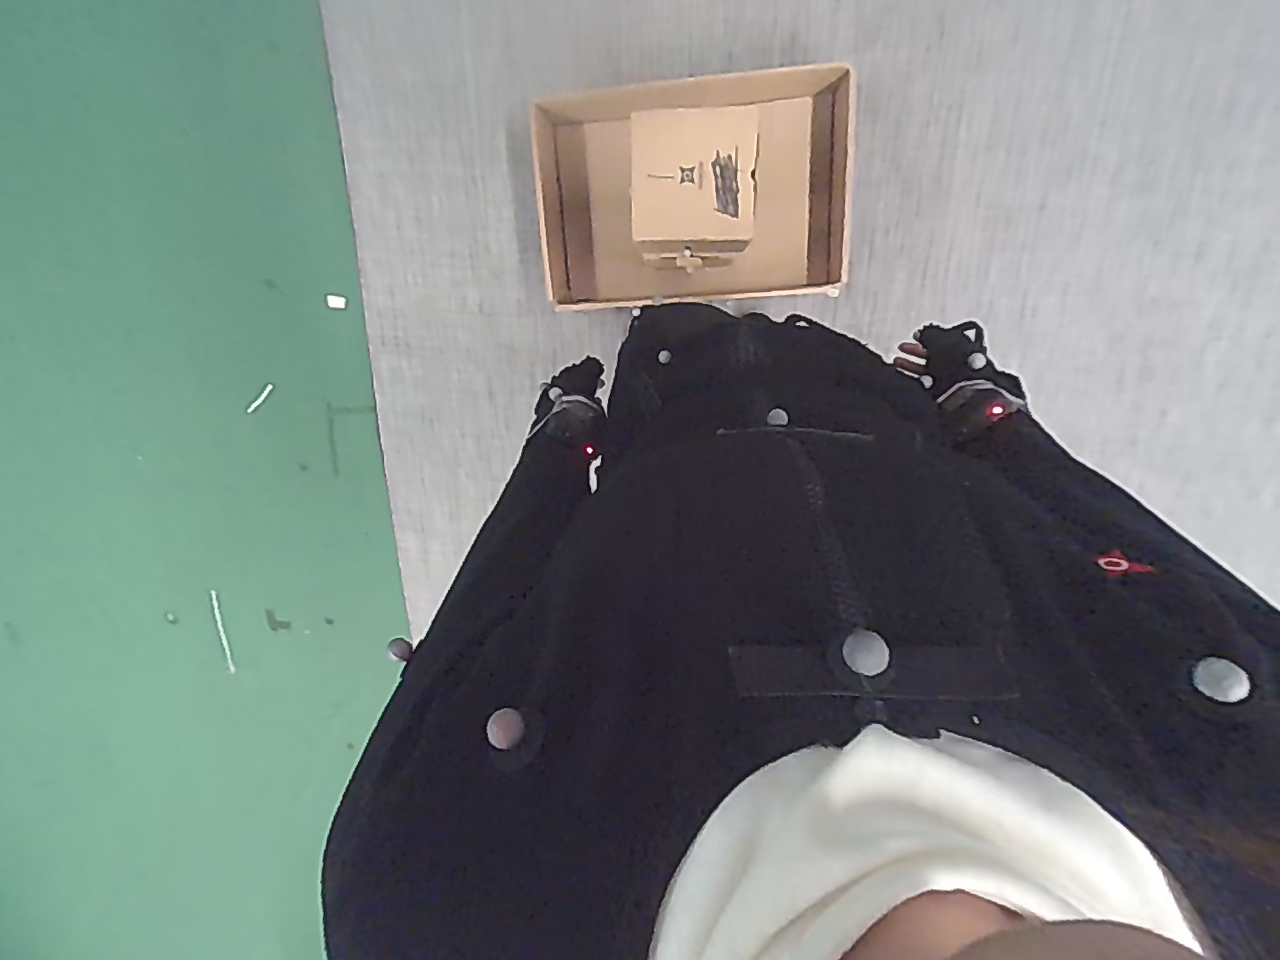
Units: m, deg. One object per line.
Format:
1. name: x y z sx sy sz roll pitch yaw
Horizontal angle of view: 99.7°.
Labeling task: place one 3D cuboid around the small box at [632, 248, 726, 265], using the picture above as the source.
1. small box: 0.077 -0.490 0.986 0.168 0.176 0.179 2 108 5

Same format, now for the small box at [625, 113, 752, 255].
1. small box: 0.072 -0.450 0.843 0.179 0.176 0.168 2 106 5
